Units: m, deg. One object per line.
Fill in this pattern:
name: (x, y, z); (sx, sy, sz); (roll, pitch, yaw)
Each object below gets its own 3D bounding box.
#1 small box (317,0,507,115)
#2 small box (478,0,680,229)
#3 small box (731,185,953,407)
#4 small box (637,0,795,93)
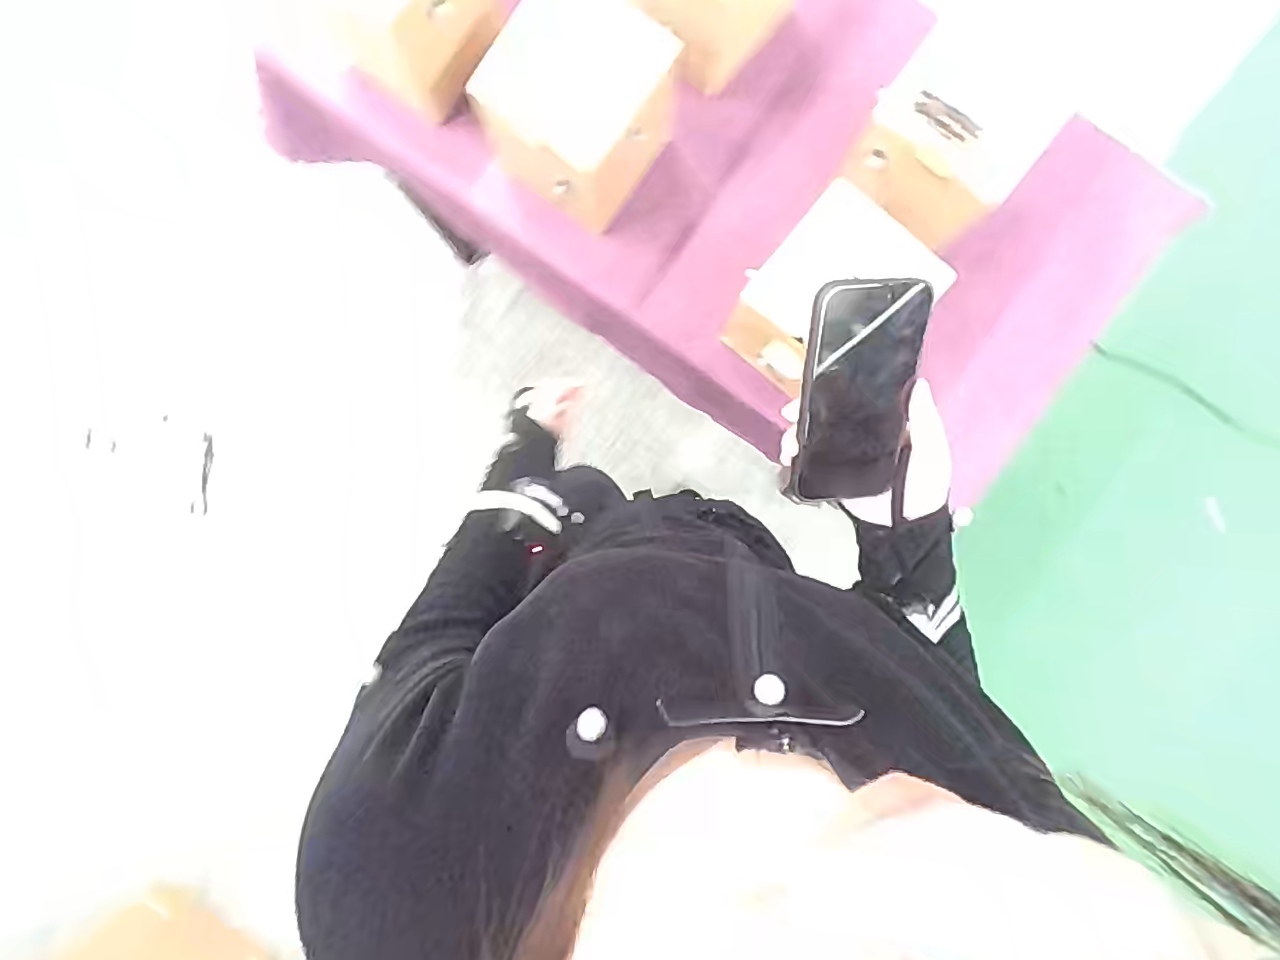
small box: (-0.291, -0.619, 0.680); (0.168, 0.176, 0.179); (35, 89, -1)
small box: (-0.067, -0.461, 0.682); (0.168, 0.176, 0.179); (36, 90, -1)
small box: (0.235, -0.214, 0.682); (0.168, 0.176, 0.179); (41, 91, 0)
small box: (0.104, -0.652, 0.678); (0.168, 0.176, 0.179); (43, 91, 0)
